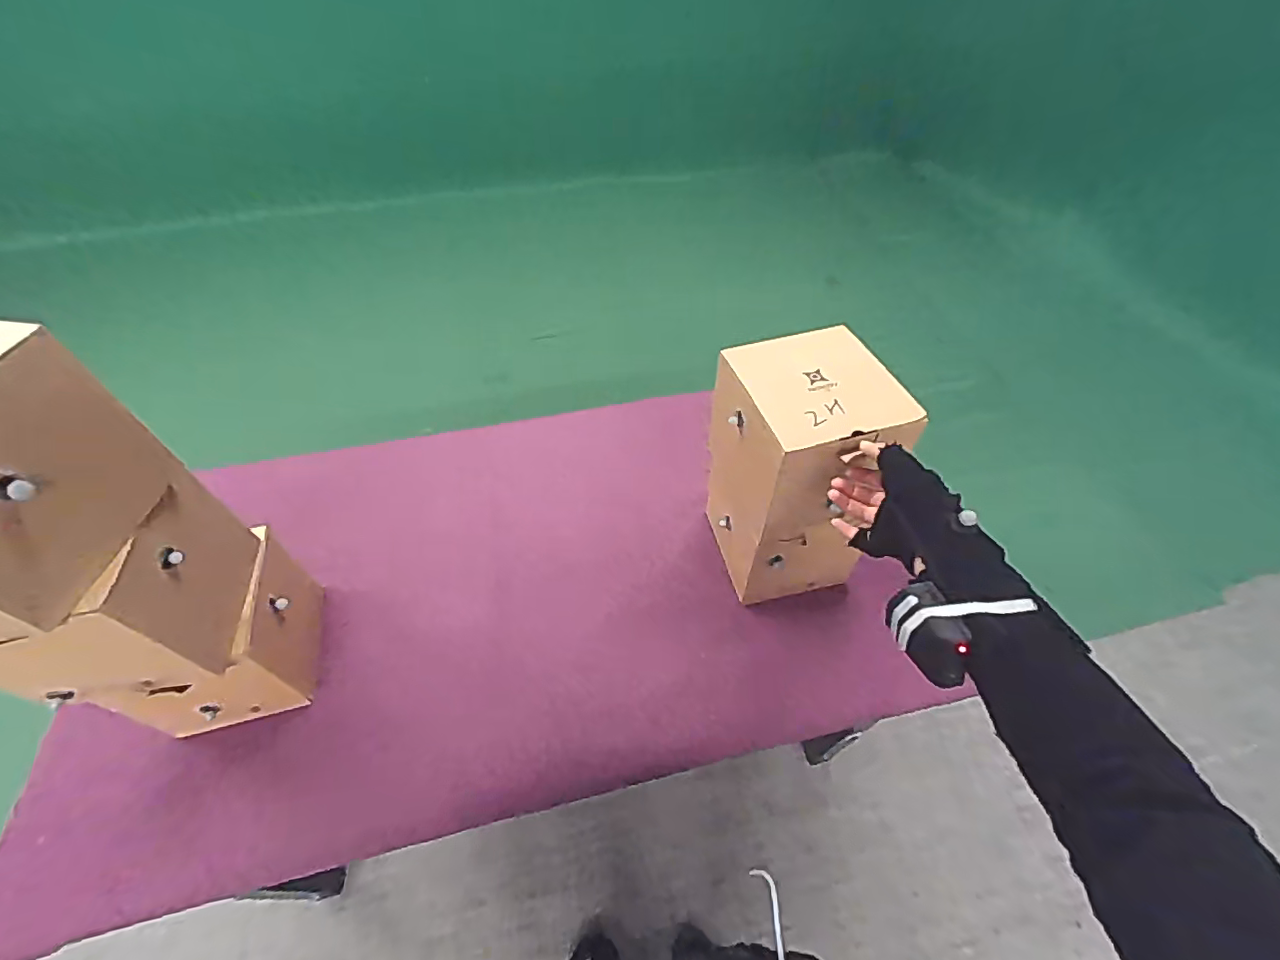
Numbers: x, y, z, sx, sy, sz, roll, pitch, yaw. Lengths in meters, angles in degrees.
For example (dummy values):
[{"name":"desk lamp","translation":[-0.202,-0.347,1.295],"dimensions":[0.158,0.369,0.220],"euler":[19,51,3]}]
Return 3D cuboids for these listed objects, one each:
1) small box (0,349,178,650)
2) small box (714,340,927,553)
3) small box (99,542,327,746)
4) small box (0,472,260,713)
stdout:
[{"name":"small box","translation":[-0.525,0.016,0.418],"dimensions":[0.168,0.176,0.179],"euler":[6,54,3]},{"name":"small box","translation":[0.198,-0.040,0.659],"dimensions":[0.168,0.176,0.179],"euler":[-14,52,-10]},{"name":"small box","translation":[-0.520,0.208,0.685],"dimensions":[0.168,0.176,0.179],"euler":[-12,53,-10]},{"name":"small box","translation":[-0.525,0.120,0.545],"dimensions":[0.168,0.176,0.179],"euler":[-8,52,-7]}]
